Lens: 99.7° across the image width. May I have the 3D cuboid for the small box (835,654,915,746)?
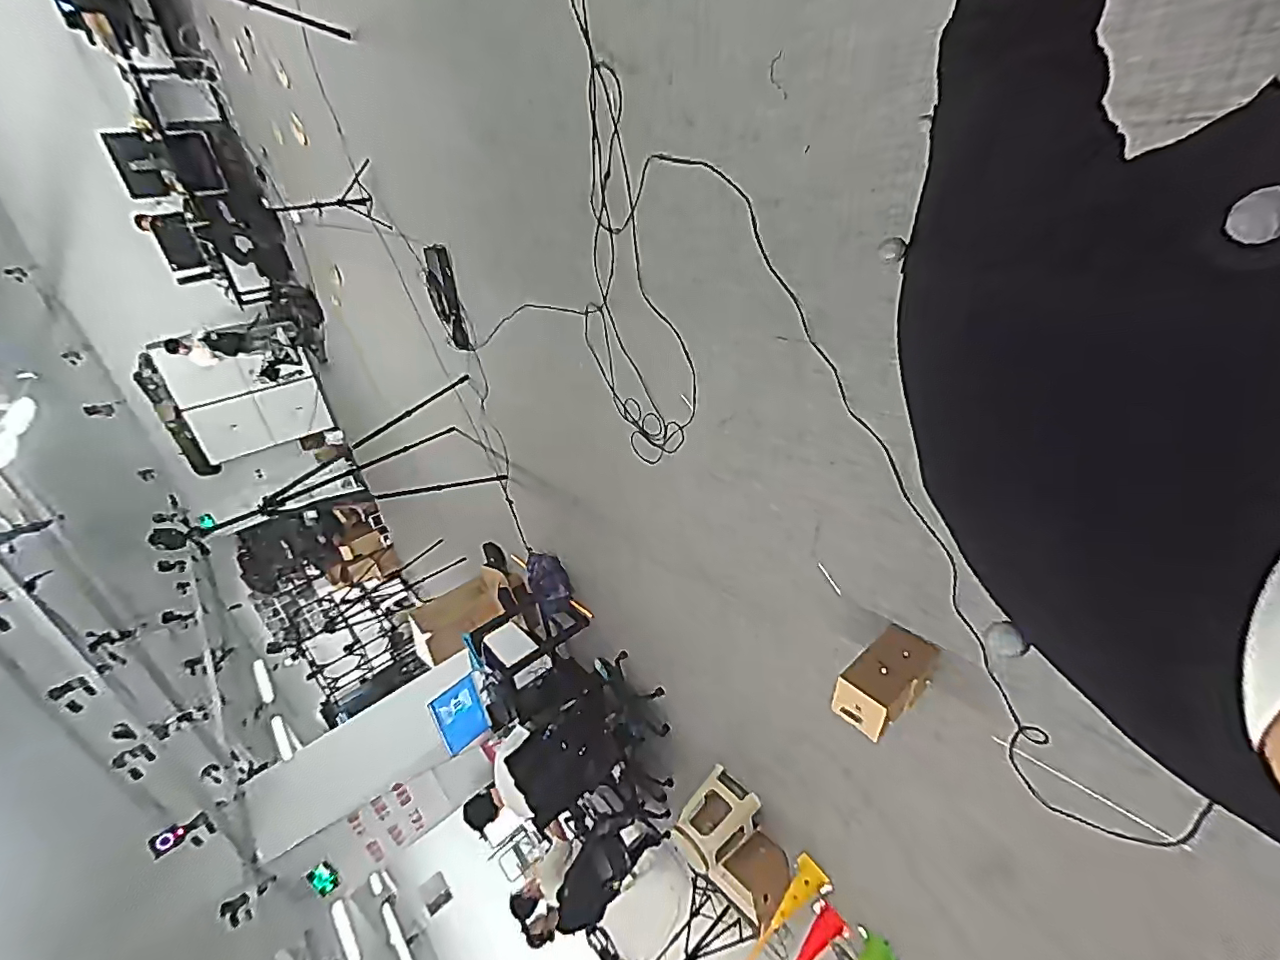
[{"bbox_3d":[0.758,0.705,1.746,0.168,0.176,0.179,30,135,41],"label":"small box"}]

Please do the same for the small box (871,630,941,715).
[{"bbox_3d":[0.886,0.643,1.829,0.179,0.176,0.168,28,134,41],"label":"small box"}]
